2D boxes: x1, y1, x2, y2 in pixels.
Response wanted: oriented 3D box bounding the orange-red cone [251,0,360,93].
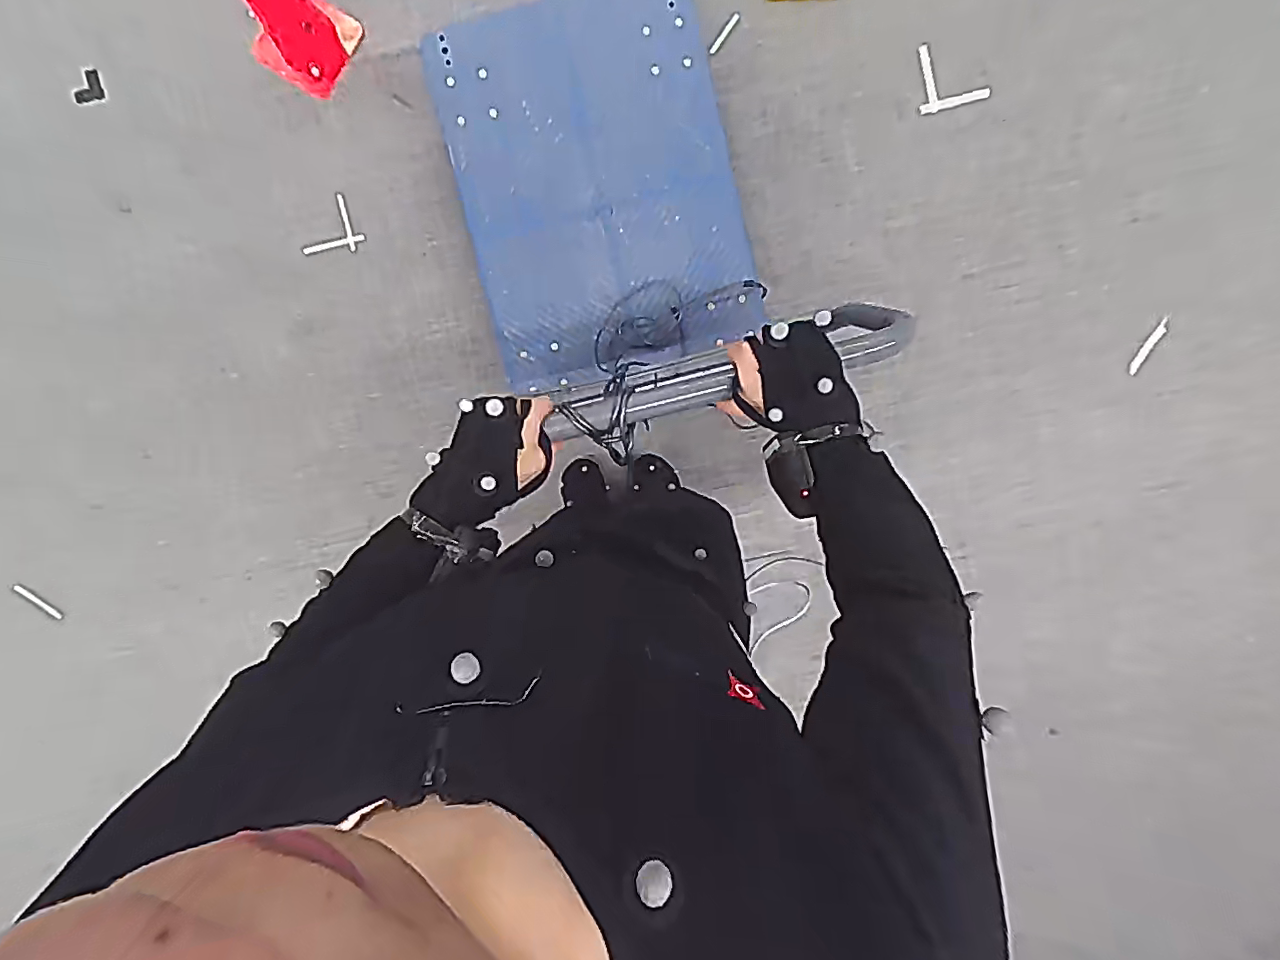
[{"bbox_3d":[-0.773,-1.022,1.089,0.198,0.360,0.199,33,92,-4],"label":"orange-red cone"}]
